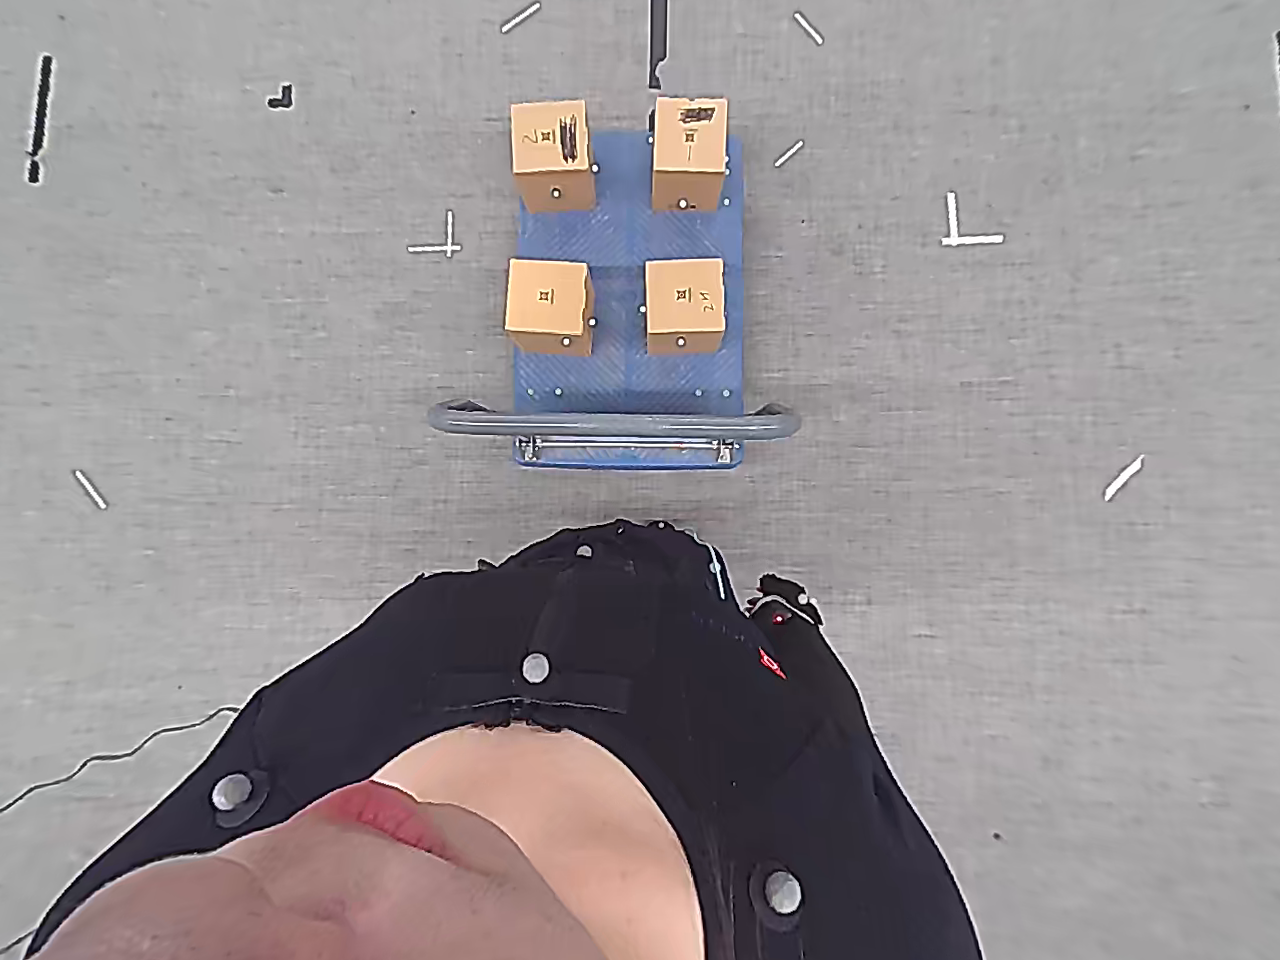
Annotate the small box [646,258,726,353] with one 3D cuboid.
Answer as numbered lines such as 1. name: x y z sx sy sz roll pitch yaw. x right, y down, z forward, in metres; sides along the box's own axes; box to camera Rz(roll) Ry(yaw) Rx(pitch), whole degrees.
1. small box: 0.104 -0.405 1.279 0.179 0.176 0.168 -2 87 1

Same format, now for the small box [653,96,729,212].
1. small box: 0.117 -0.779 1.302 0.168 0.176 0.179 2 88 1

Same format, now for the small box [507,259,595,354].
1. small box: -0.205 -0.404 1.285 0.179 0.176 0.168 3 86 -1
